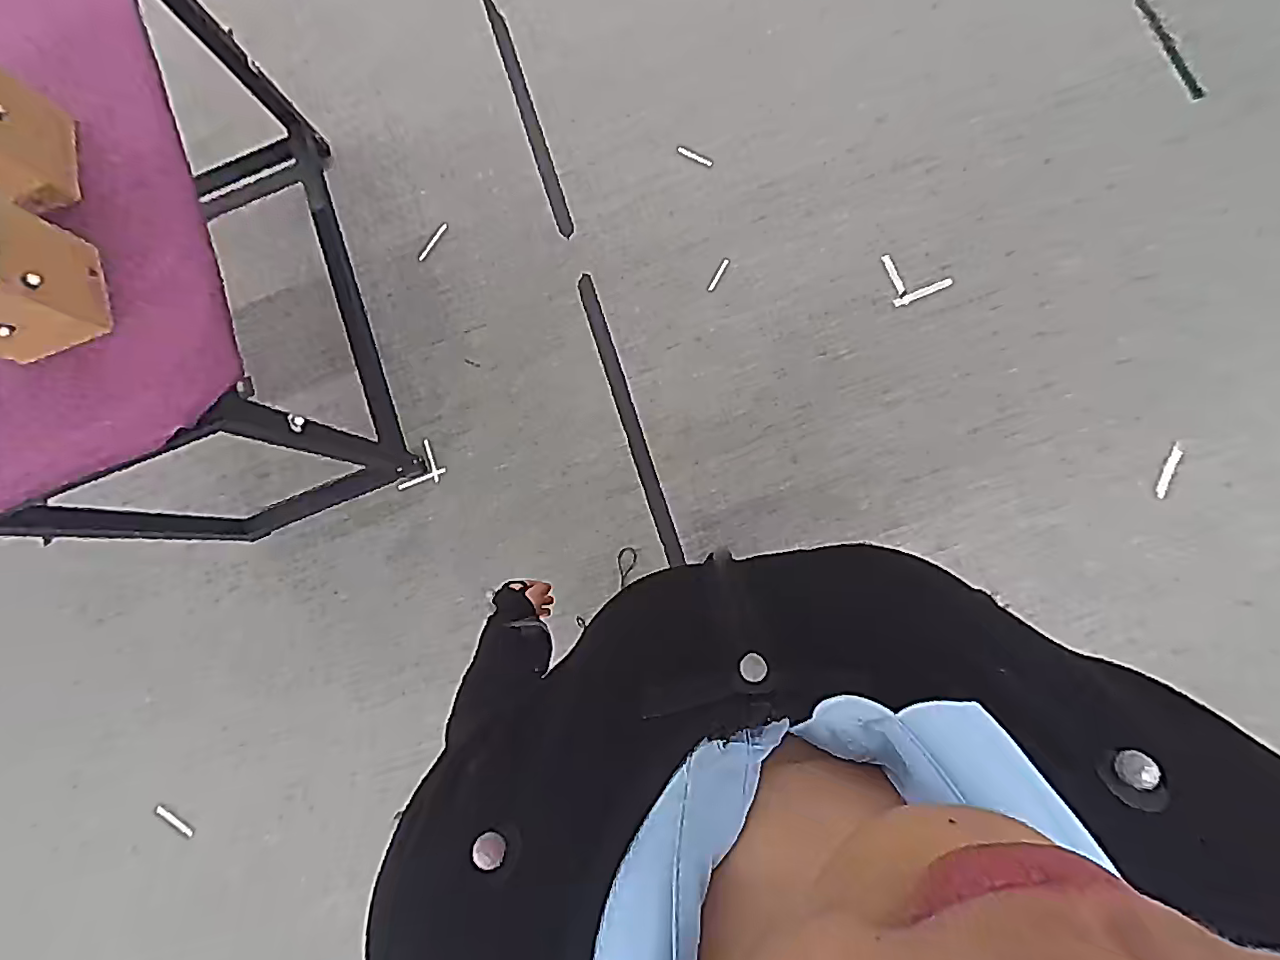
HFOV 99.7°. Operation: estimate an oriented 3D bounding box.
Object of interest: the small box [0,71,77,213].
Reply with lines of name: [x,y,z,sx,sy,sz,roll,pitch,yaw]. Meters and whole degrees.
small box: [-1.102,-0.575,0.901,0.168,0.176,0.179,-13,81,3]
